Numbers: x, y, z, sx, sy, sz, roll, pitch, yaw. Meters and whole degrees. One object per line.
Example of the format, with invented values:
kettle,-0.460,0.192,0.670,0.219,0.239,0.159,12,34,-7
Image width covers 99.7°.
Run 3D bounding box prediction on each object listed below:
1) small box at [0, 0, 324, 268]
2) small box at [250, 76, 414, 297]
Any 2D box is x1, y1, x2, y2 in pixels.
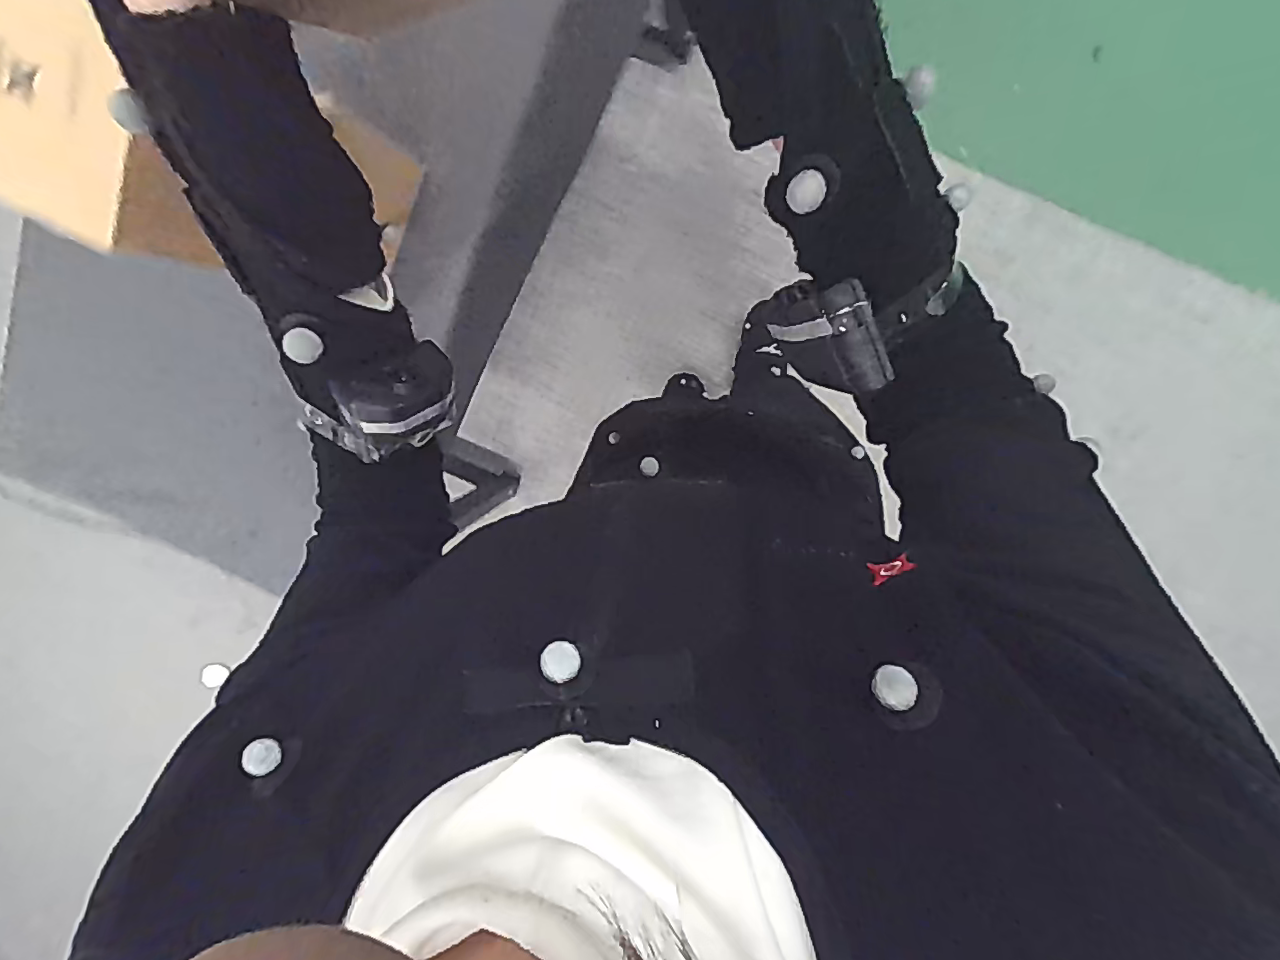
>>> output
small box,-0.407,-0.290,0.441,0.179,0.176,0.168,24,106,1
small box,-0.381,-0.325,0.598,0.168,0.176,0.179,27,104,2
